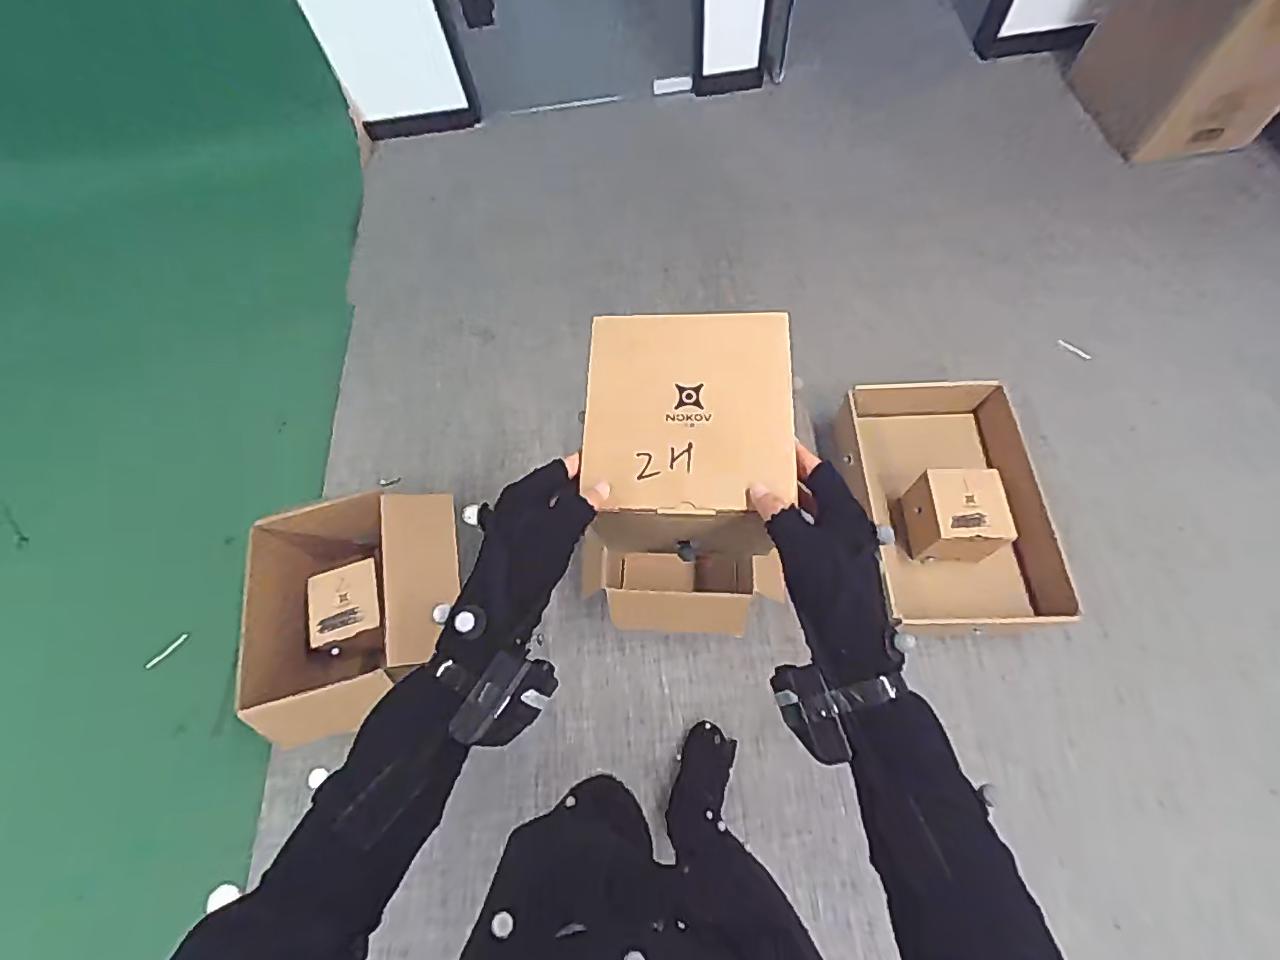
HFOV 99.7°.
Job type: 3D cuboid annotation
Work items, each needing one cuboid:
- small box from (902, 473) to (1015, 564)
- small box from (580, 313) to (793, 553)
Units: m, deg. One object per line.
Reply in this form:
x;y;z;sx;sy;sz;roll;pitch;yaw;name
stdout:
0.757;0.097;1.305;0.168;0.176;0.179;1;63;4;small box
0.045;-0.035;0.513;0.168;0.176;0.179;1;72;6;small box
